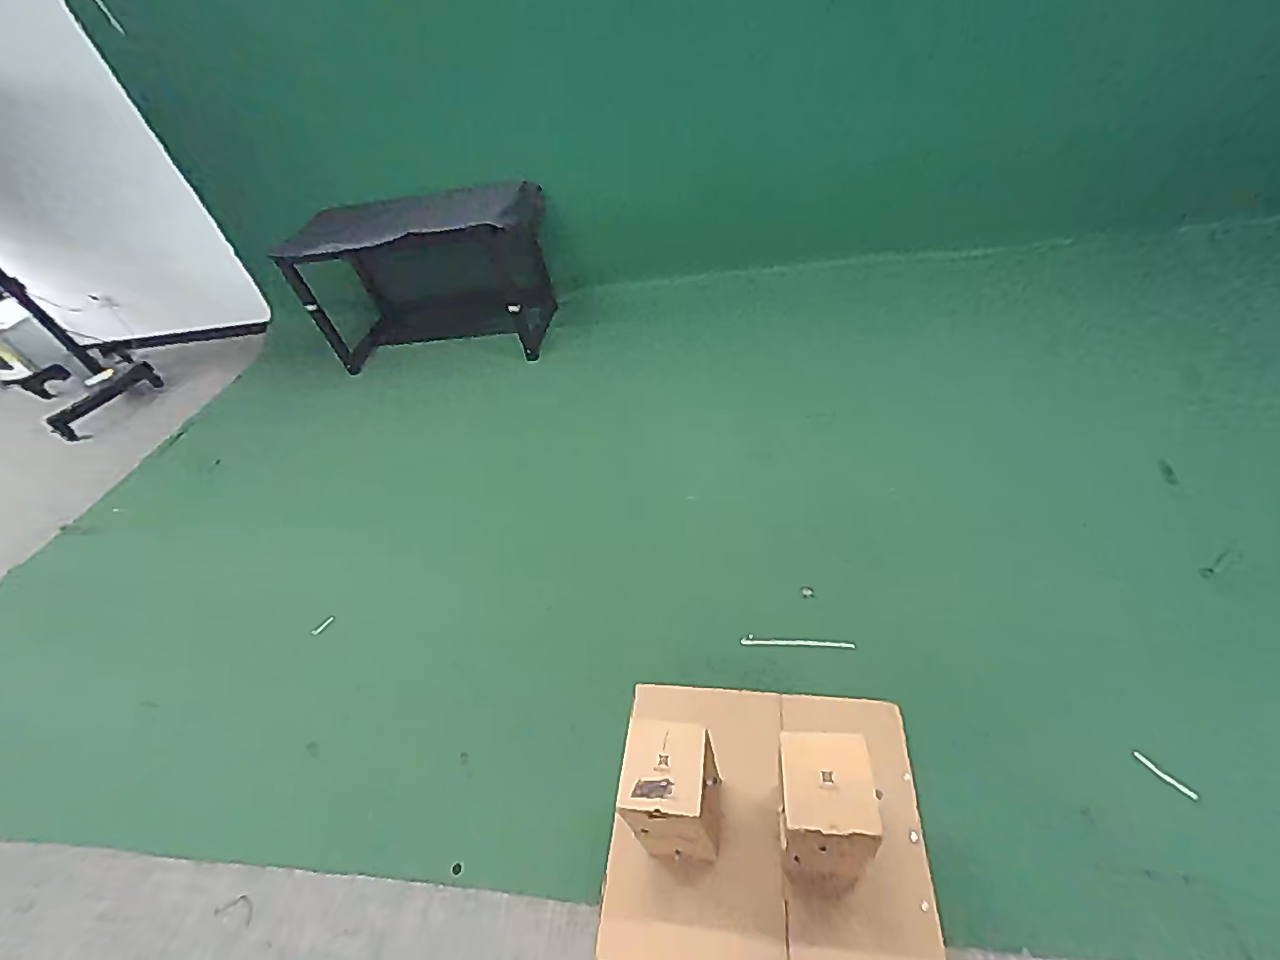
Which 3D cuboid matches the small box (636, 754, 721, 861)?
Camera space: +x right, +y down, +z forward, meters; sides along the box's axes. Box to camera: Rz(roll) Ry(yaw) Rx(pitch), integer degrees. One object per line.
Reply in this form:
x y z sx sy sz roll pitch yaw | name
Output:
0.095 0.742 1.237 0.168 0.176 0.179 -3 44 13 | small box

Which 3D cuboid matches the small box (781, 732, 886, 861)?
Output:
0.367 0.618 1.061 0.168 0.176 0.179 -3 44 11 | small box

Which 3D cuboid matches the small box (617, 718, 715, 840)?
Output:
0.063 0.625 1.127 0.168 0.176 0.179 -1 43 14 | small box
